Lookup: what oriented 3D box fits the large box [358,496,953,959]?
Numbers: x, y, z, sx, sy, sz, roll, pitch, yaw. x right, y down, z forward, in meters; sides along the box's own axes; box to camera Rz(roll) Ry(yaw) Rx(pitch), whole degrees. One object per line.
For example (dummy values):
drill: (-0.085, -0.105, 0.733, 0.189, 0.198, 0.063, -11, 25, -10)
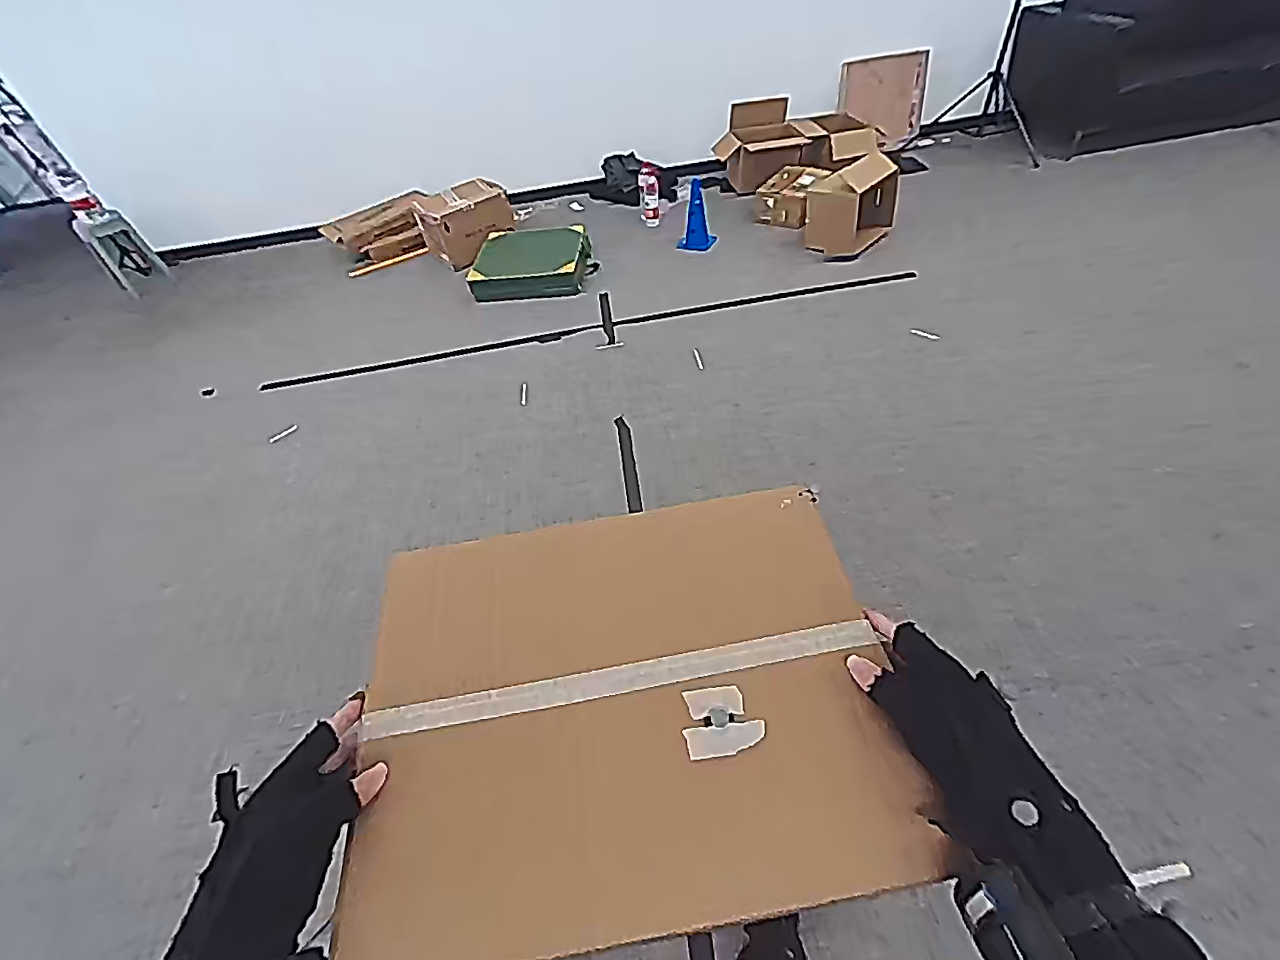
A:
large box: (0.002, 0.260, 0.556, 0.408, 0.320, 0.320, -10, 51, -2)
